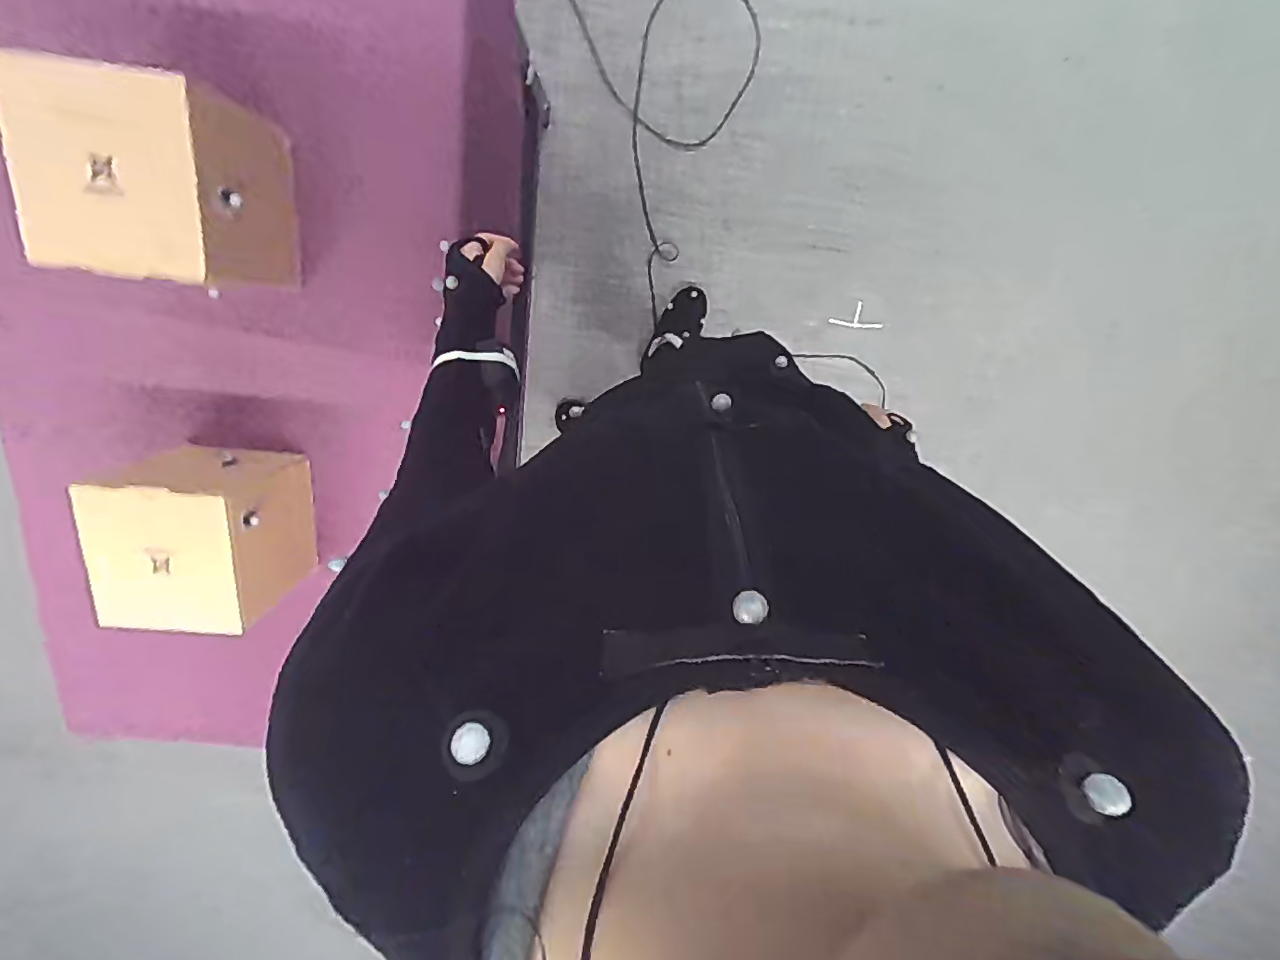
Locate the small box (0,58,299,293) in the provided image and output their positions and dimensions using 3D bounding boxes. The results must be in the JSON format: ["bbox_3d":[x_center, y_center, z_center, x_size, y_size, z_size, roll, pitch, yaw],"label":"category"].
[{"bbox_3d":[-0.494,-0.301,0.576,0.168,0.176,0.179,6,106,-4],"label":"small box"}]

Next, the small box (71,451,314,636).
[{"bbox_3d":[-0.543,0.072,0.688,0.168,0.176,0.179,4,106,-2],"label":"small box"}]
